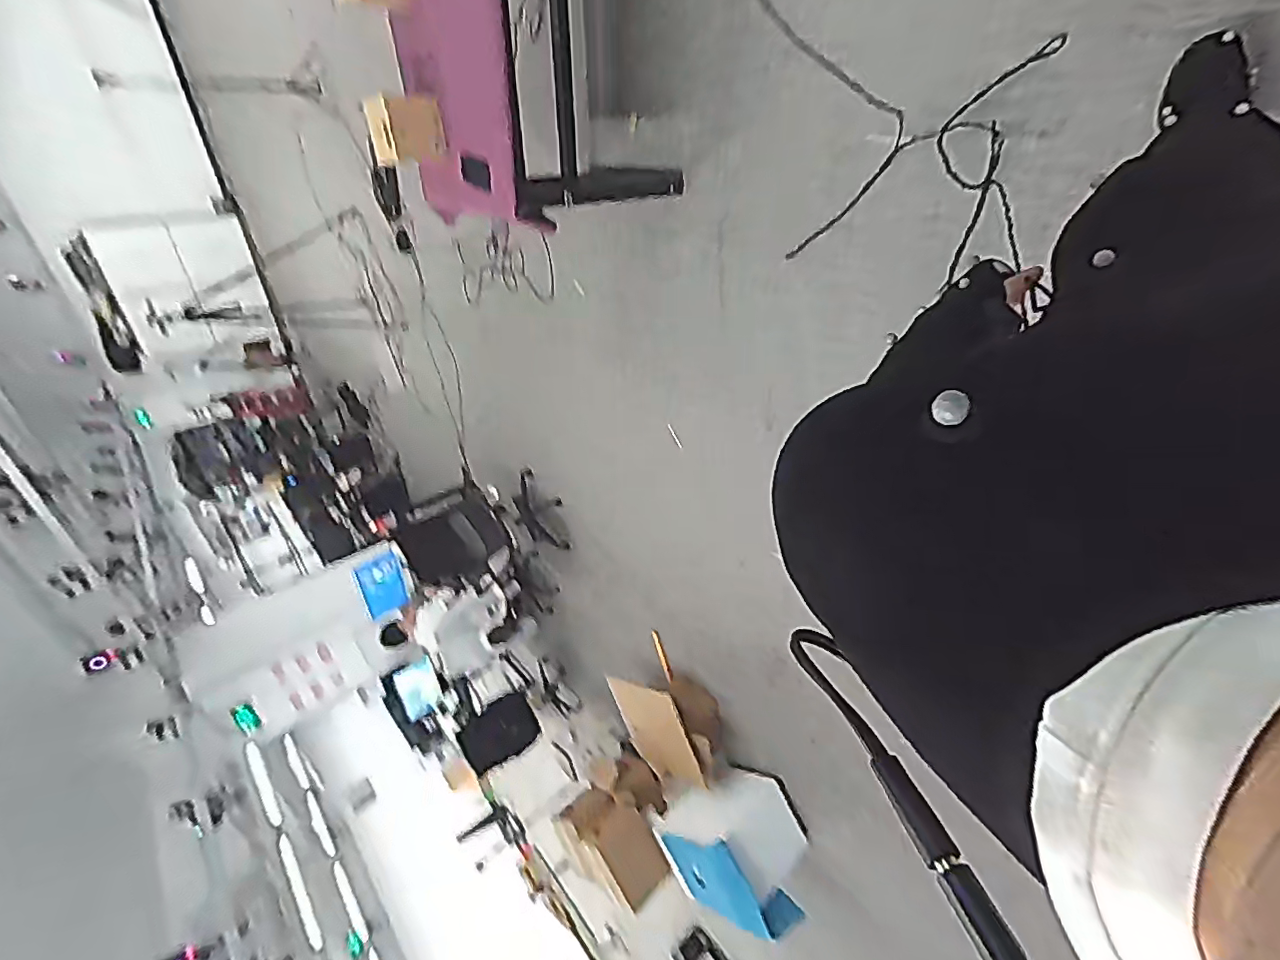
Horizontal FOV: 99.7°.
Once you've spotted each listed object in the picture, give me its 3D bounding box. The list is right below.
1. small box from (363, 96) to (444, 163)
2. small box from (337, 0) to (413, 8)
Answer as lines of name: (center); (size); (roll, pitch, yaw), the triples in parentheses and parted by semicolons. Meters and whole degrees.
small box: (-0.728, -1.092, 1.686); (0.179, 0.176, 0.168); (28, 132, 41)
small box: (-0.747, -1.428, 1.491); (0.179, 0.176, 0.168); (30, 135, 38)
